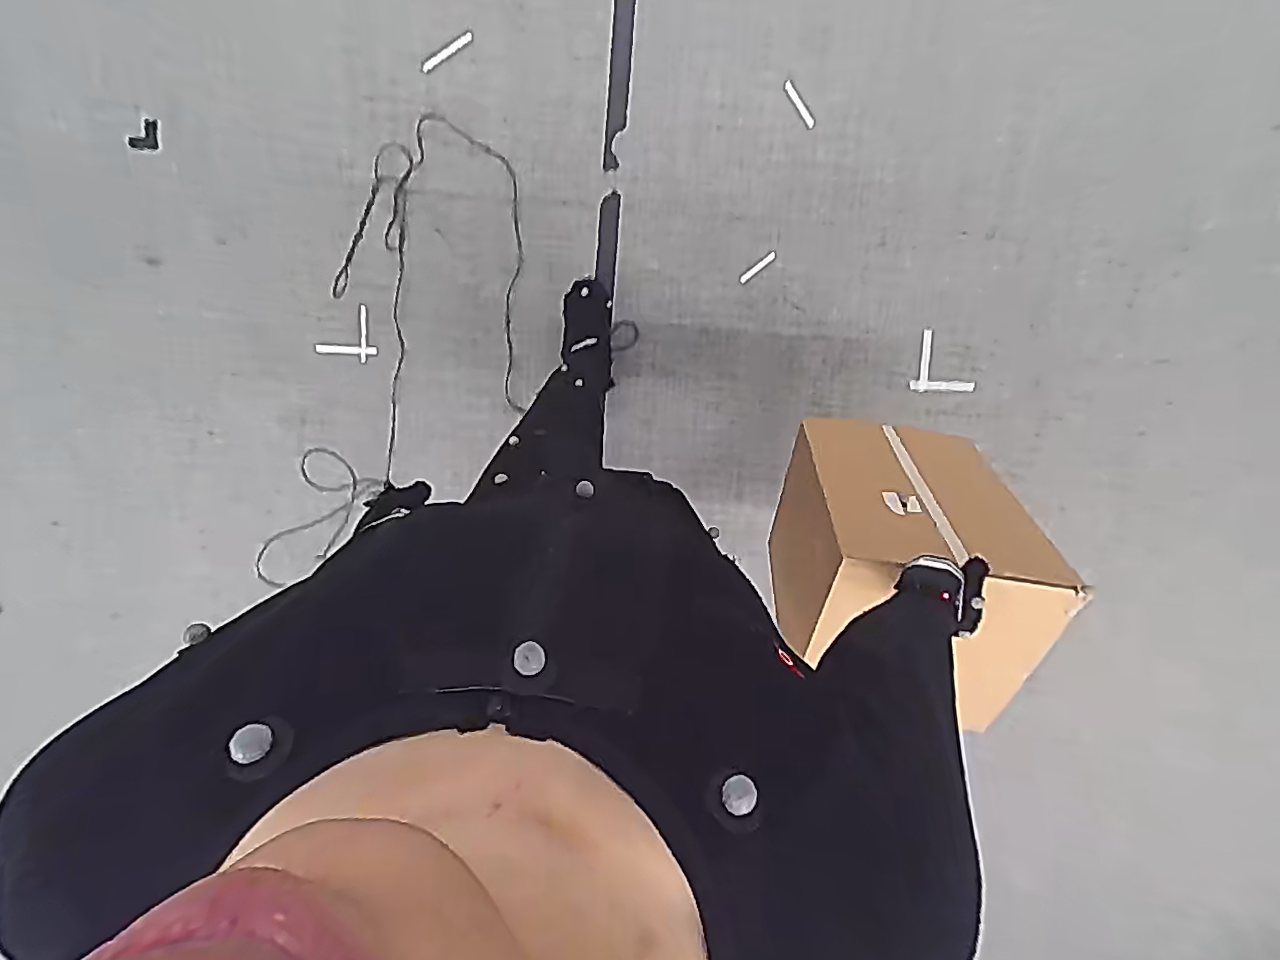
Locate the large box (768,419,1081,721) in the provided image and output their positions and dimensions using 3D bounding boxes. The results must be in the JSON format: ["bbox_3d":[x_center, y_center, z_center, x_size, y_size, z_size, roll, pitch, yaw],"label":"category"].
[{"bbox_3d":[0.427,0.137,0.950,0.320,0.408,0.320,7,125,3],"label":"large box"}]
